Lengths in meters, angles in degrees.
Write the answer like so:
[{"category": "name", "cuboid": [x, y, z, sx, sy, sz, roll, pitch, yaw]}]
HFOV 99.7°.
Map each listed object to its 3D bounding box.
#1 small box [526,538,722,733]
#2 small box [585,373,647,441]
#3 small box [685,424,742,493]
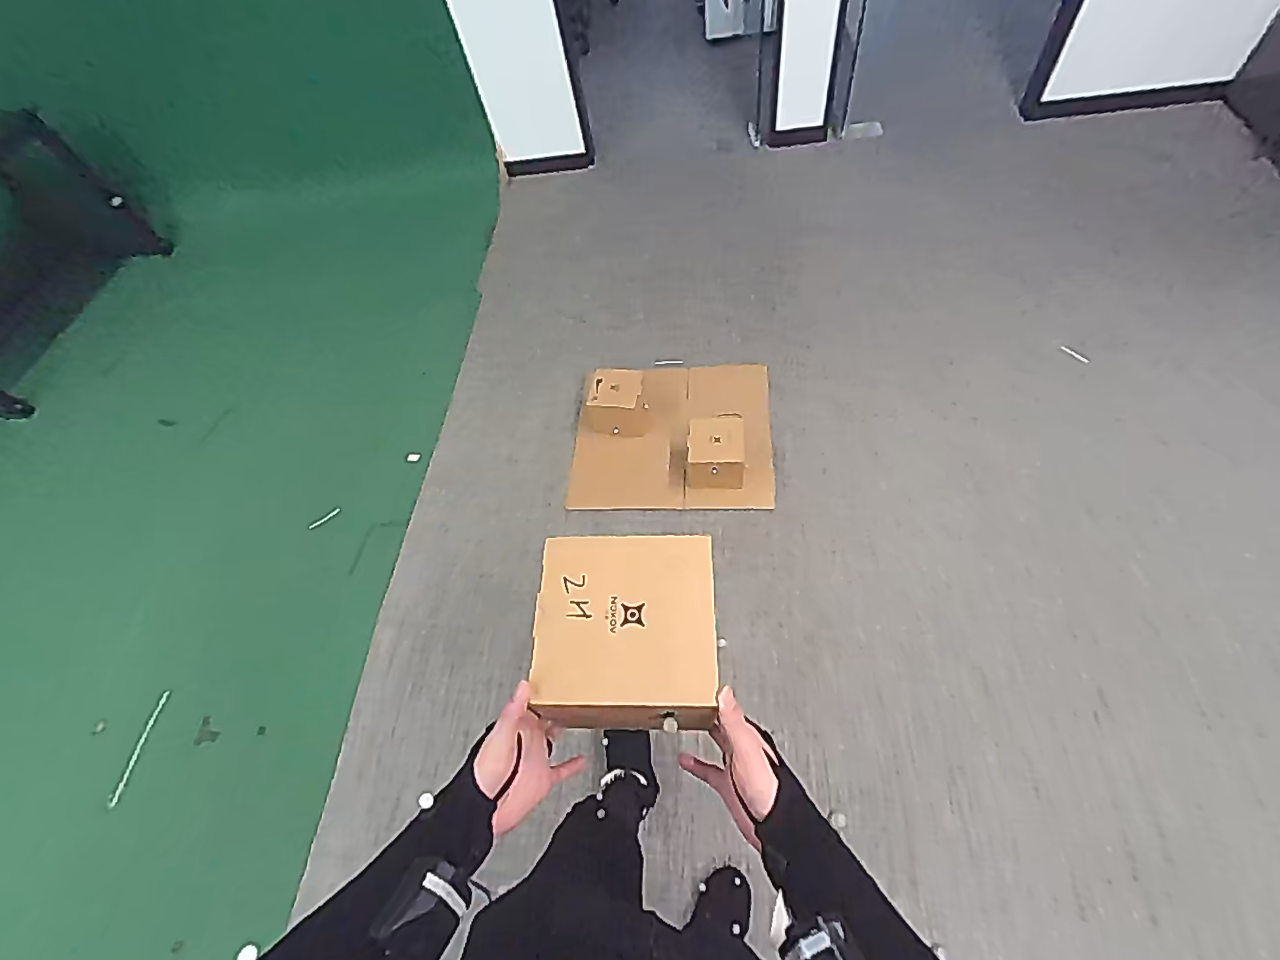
[{"category": "small box", "cuboid": [-0.008, 0.173, 0.586, 0.179, 0.176, 0.168, -1, 58, 4]}, {"category": "small box", "cuboid": [-0.078, -0.256, 1.916, 0.179, 0.176, 0.168, 7, 60, 13]}, {"category": "small box", "cuboid": [0.242, -0.067, 1.755, 0.179, 0.176, 0.168, 0, 59, 10]}]
